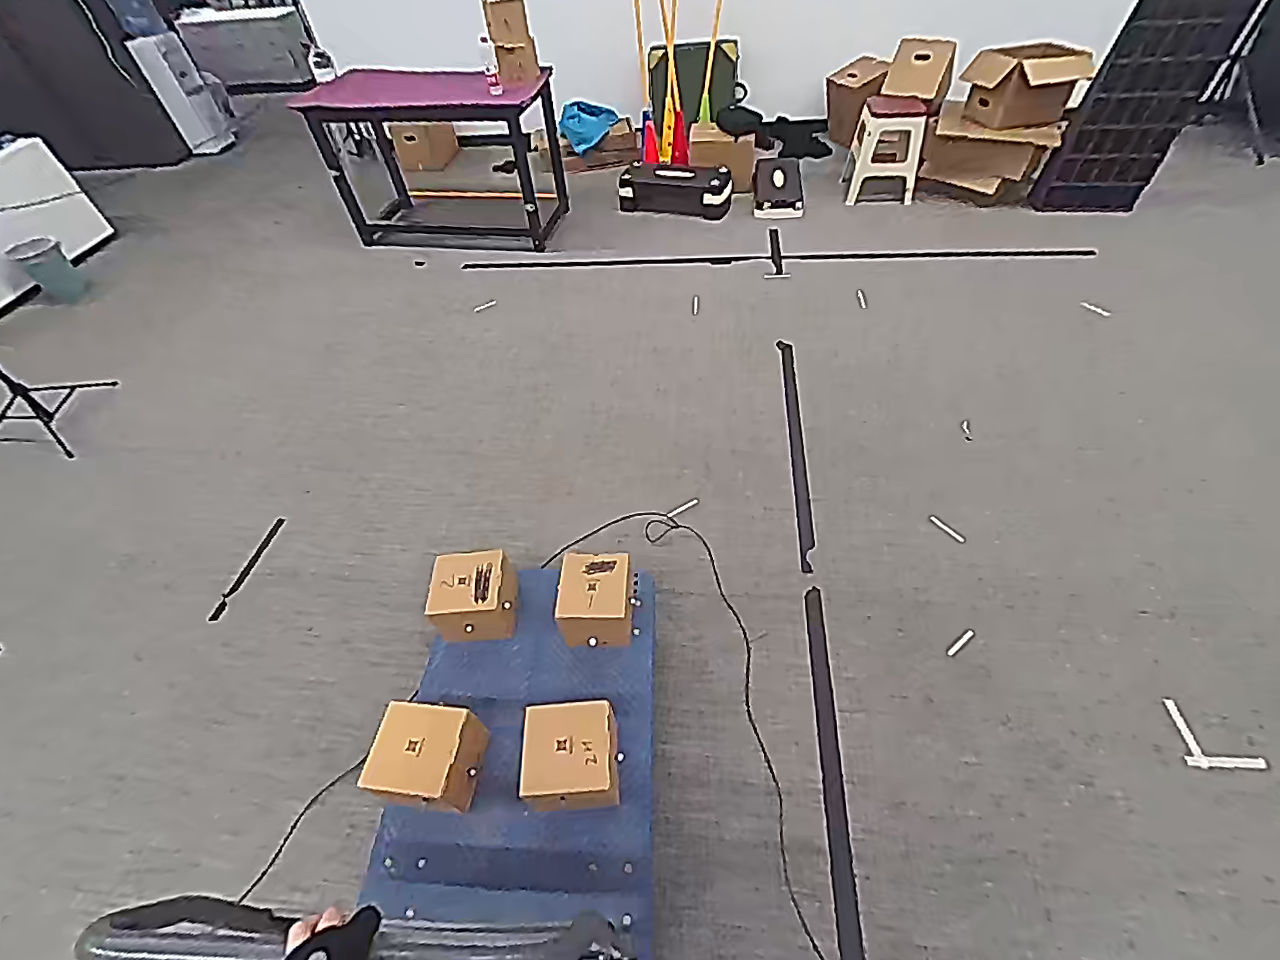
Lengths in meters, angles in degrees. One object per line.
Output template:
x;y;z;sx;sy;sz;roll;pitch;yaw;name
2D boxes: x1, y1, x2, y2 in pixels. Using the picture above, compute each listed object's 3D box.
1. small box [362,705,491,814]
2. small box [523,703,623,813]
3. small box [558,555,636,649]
-0.439;0.594;1.144;0.179;0.176;0.168;2;50;6;small box
-0.132;0.581;1.125;0.179;0.176;0.168;-5;50;1;small box
-0.101;0.306;1.356;0.168;0.176;0.179;-1;51;5;small box
